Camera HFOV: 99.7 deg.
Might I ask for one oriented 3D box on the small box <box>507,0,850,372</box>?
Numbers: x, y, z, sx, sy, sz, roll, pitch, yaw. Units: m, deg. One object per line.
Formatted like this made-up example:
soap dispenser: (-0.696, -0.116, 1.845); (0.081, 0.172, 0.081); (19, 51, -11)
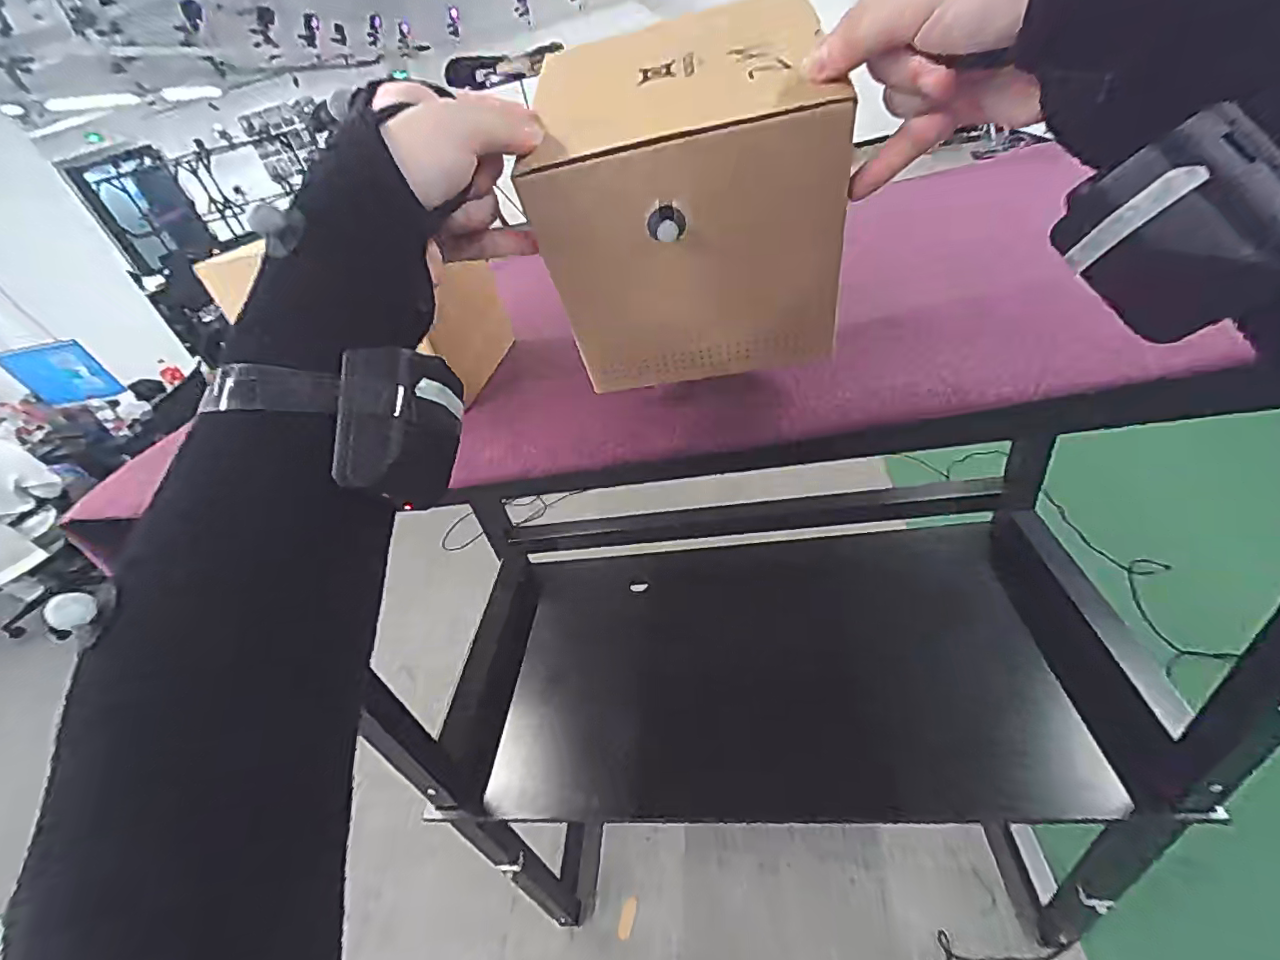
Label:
small box: (0.034, -0.193, 0.373); (0.179, 0.176, 0.168); (-6, 56, 11)

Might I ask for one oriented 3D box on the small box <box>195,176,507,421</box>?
small box: (-0.248, -0.167, 0.520); (0.168, 0.176, 0.179); (-7, 36, 12)
